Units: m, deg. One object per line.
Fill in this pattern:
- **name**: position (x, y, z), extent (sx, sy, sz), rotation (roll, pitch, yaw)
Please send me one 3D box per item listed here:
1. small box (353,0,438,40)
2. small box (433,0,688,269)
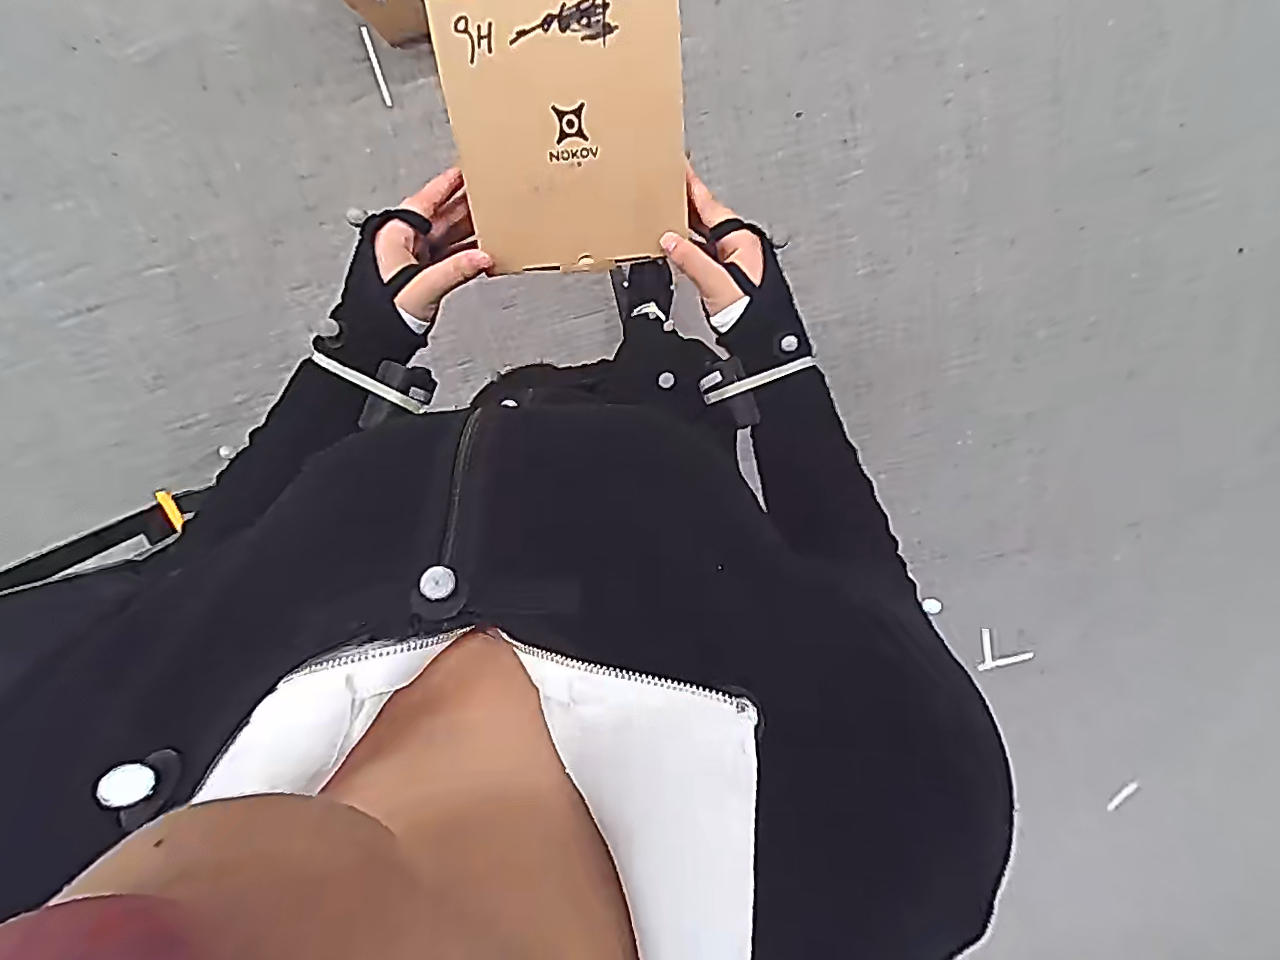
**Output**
- **small box**: position (-0.478, -1.016, 1.063), extent (0.179, 0.176, 0.168), rotation (-15, 109, 5)
- **small box**: position (-0.052, -0.293, 0.459), extent (0.168, 0.176, 0.179), rotation (-6, 121, -1)
